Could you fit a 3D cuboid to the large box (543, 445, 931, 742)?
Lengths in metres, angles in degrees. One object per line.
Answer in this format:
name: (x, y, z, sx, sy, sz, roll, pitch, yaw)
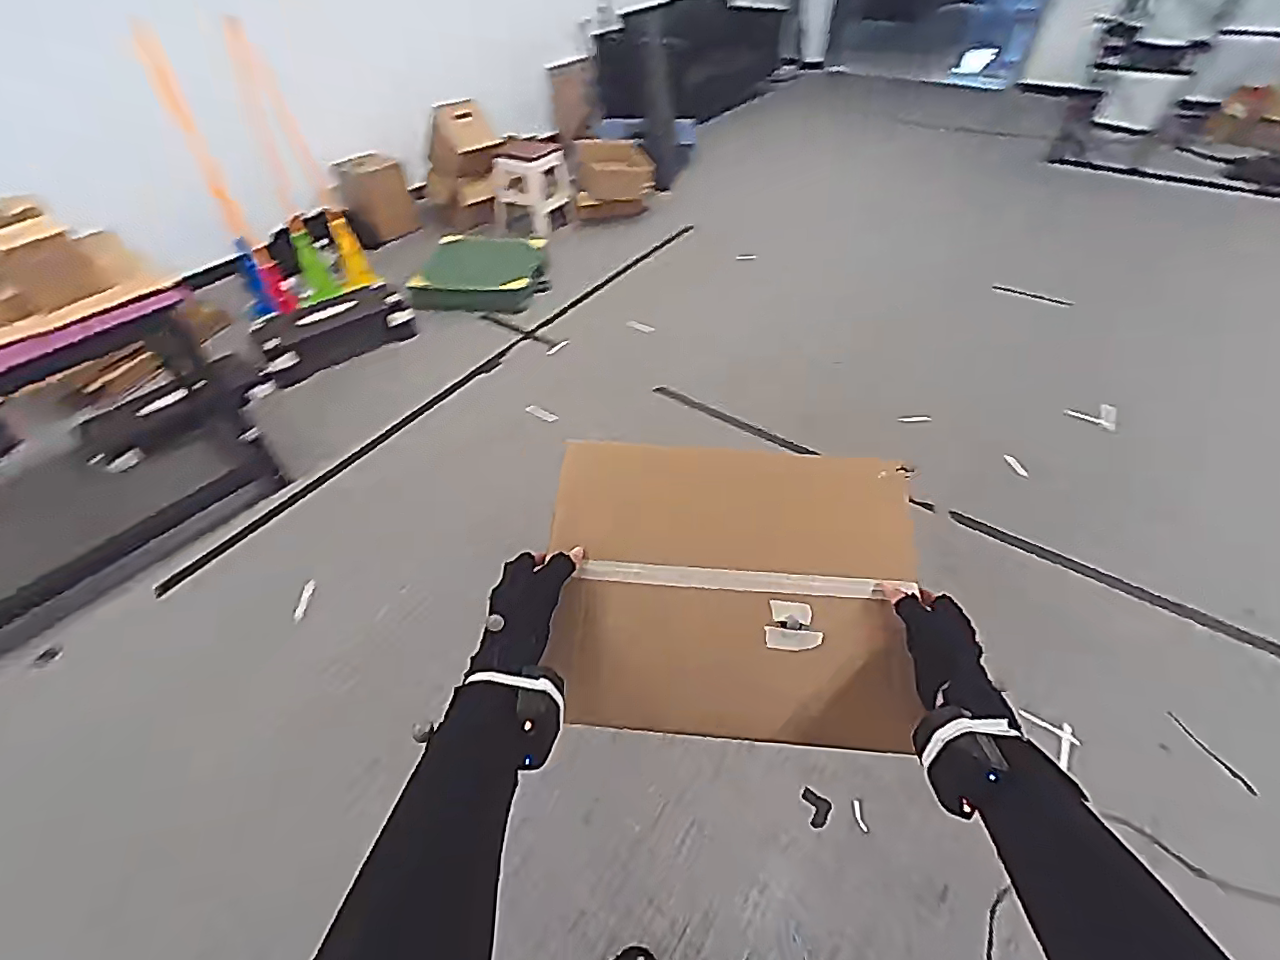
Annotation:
large box: (0.110, 0.165, 0.743, 0.408, 0.320, 0.320, 4, 69, 4)
